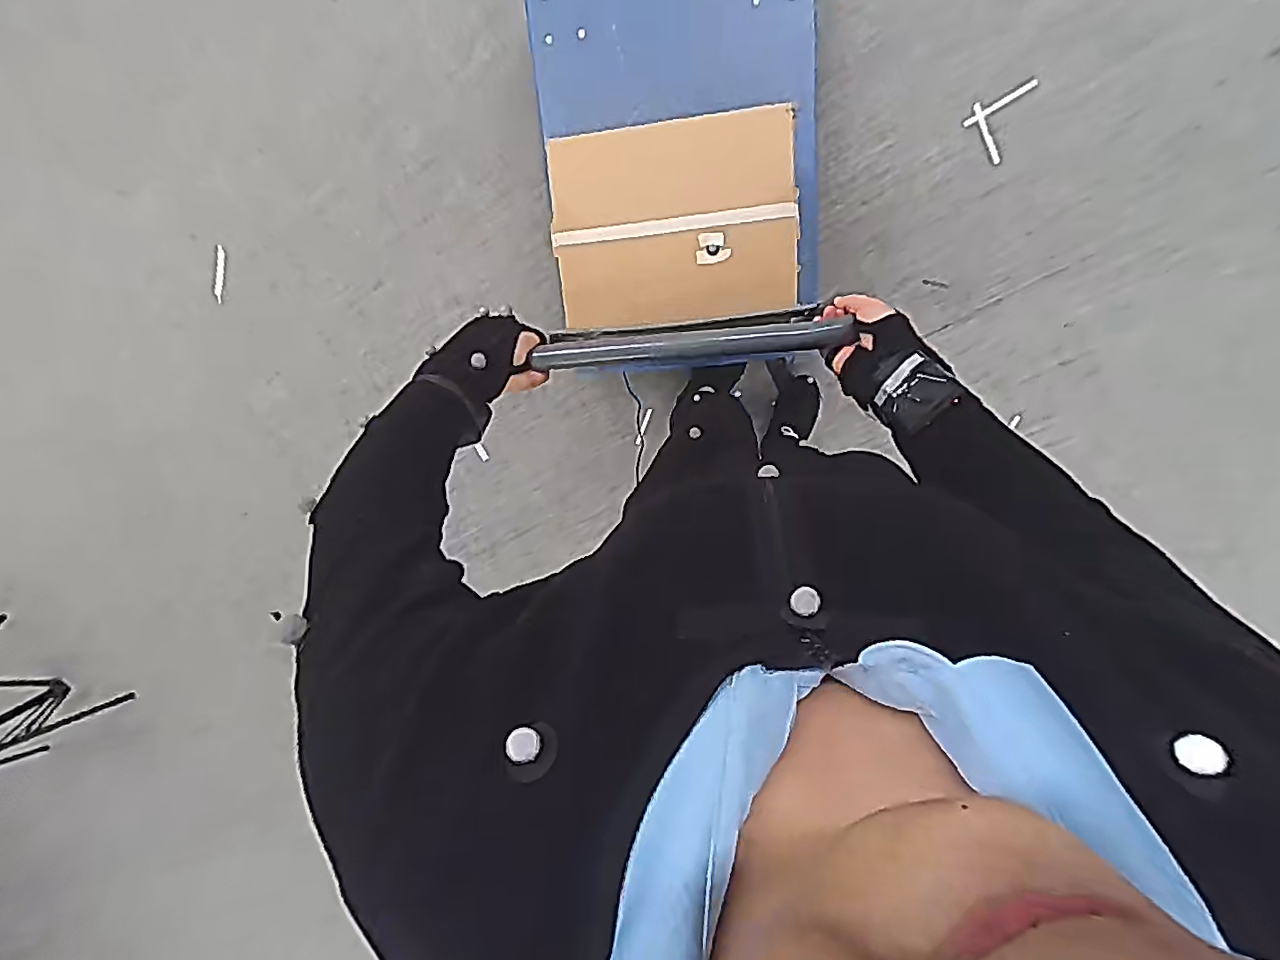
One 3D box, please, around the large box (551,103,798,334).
[{"bbox_3d":[0.077,-0.467,1.056,0.408,0.320,0.320,-3,104,9],"label":"large box"}]
